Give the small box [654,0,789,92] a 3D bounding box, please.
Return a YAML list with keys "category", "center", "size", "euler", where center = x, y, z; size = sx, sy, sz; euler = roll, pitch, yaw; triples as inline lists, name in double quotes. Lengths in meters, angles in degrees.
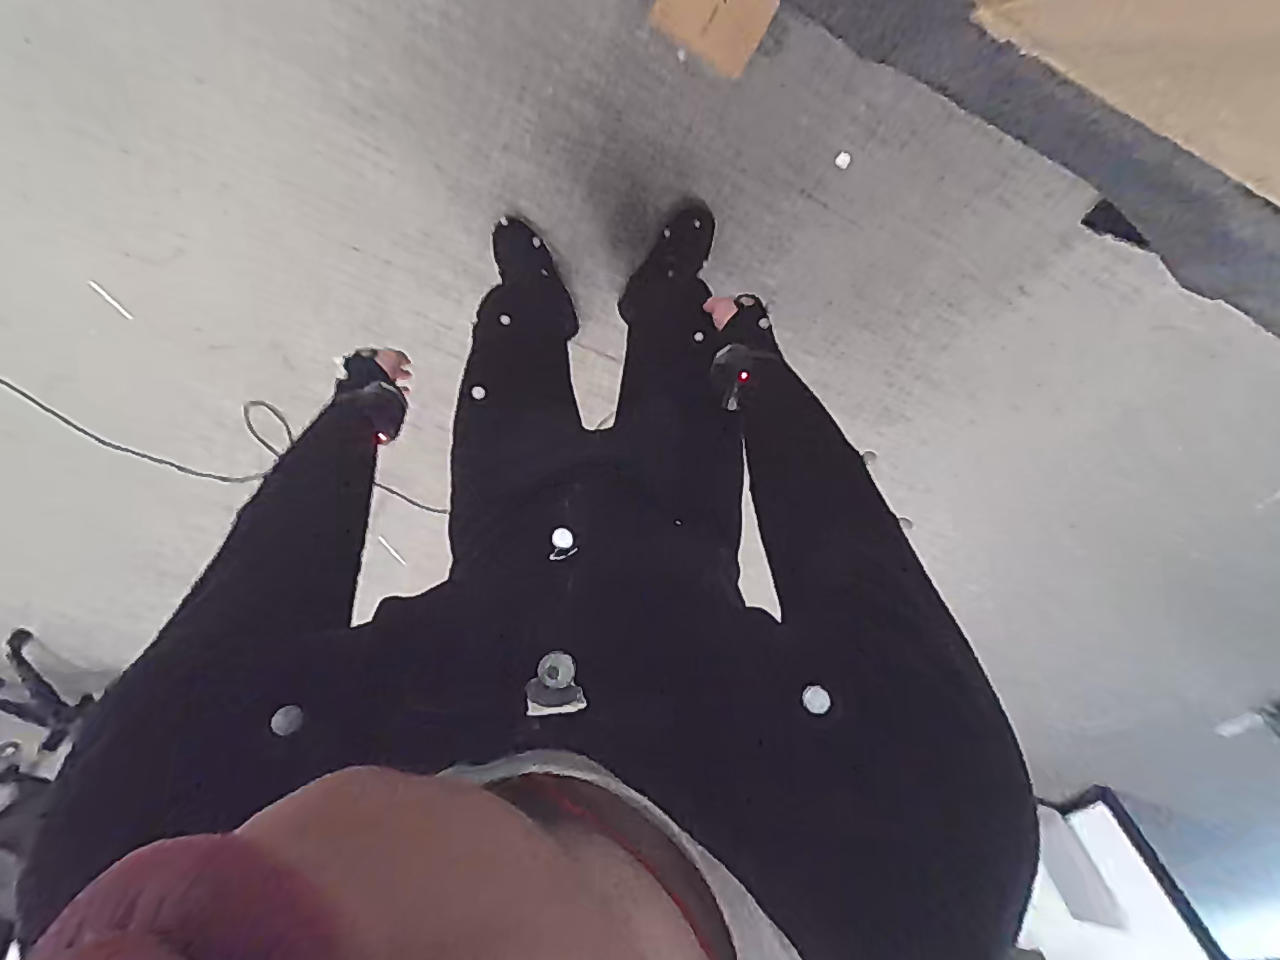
- category: "small box"
  center: [0.130, -0.776, 0.882]
  size: [0.168, 0.176, 0.179]
  euler: [23, 124, -18]
